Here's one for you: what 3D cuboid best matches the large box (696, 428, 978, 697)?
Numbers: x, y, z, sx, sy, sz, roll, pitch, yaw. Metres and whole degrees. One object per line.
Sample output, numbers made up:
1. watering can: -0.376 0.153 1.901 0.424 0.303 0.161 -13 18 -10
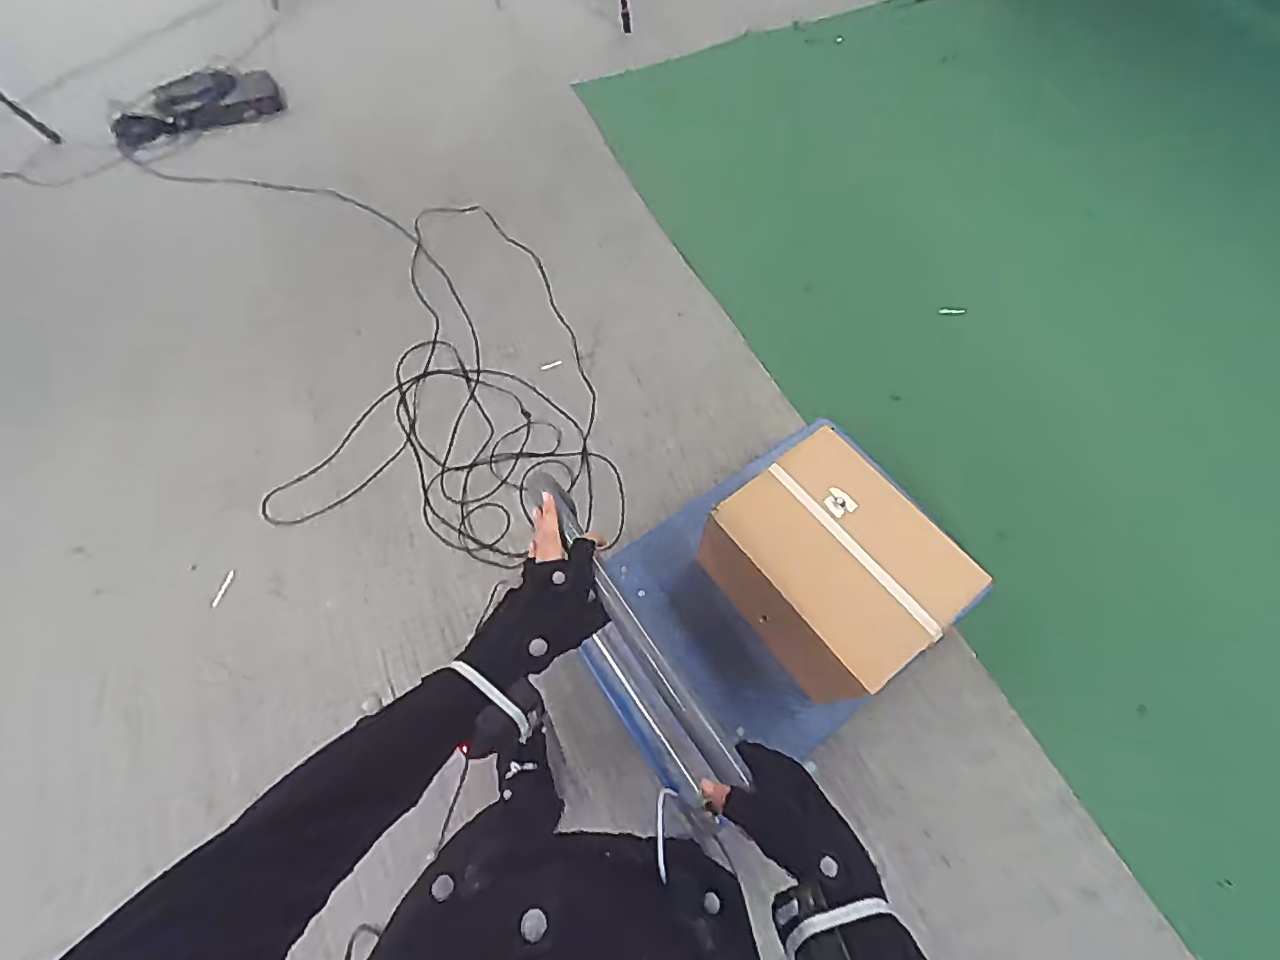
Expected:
1. large box: 0.366 0.179 1.121 0.320 0.320 0.408 -35 69 -16
